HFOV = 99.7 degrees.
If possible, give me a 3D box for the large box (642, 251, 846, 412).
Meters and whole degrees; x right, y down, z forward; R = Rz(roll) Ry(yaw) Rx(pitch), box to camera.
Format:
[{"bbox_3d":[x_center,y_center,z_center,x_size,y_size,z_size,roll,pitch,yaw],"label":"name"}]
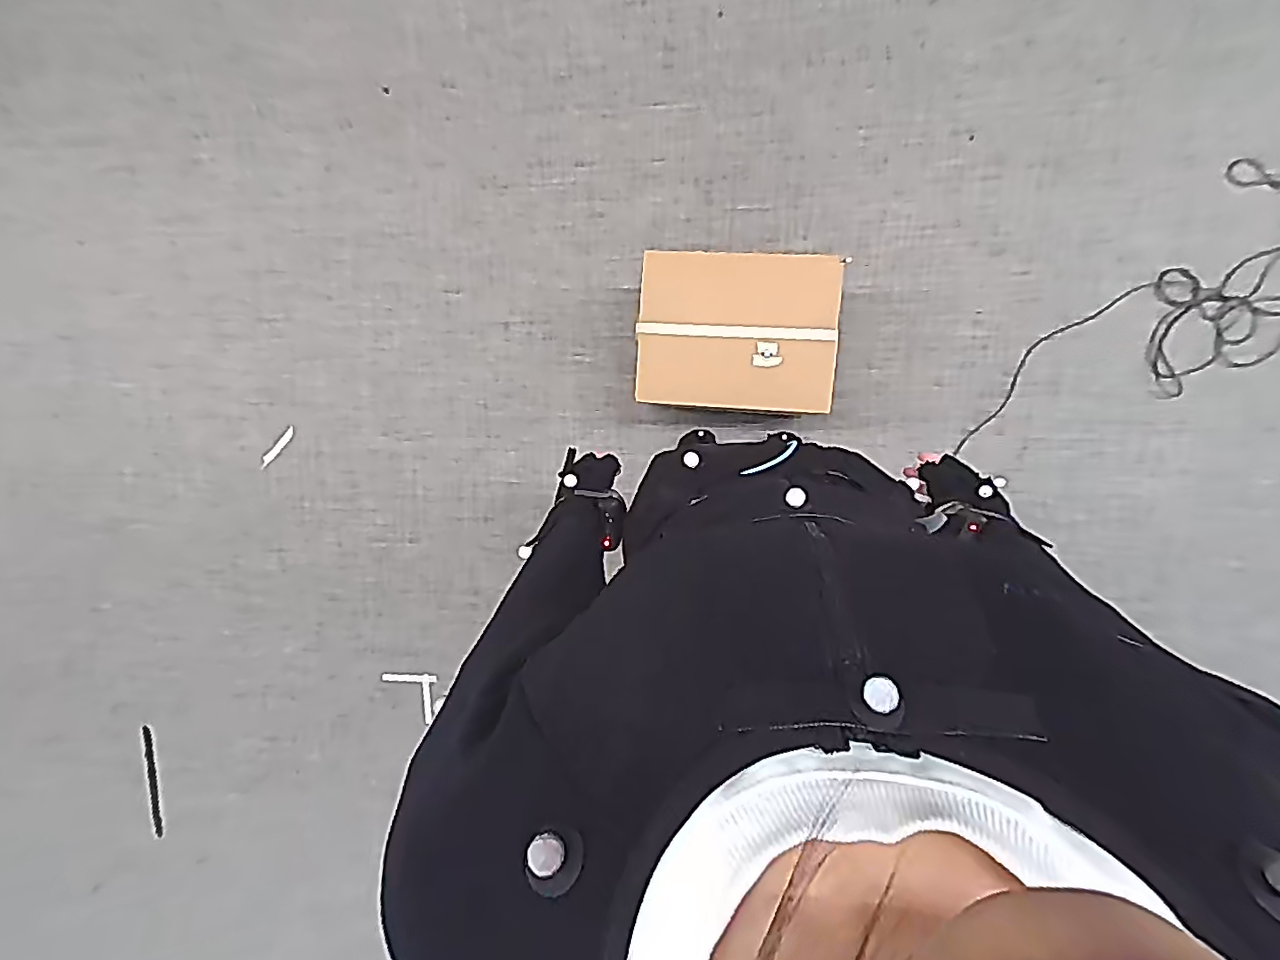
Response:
[{"bbox_3d":[0.223,-0.324,1.259,0.408,0.320,0.320,4,97,7],"label":"large box"}]
